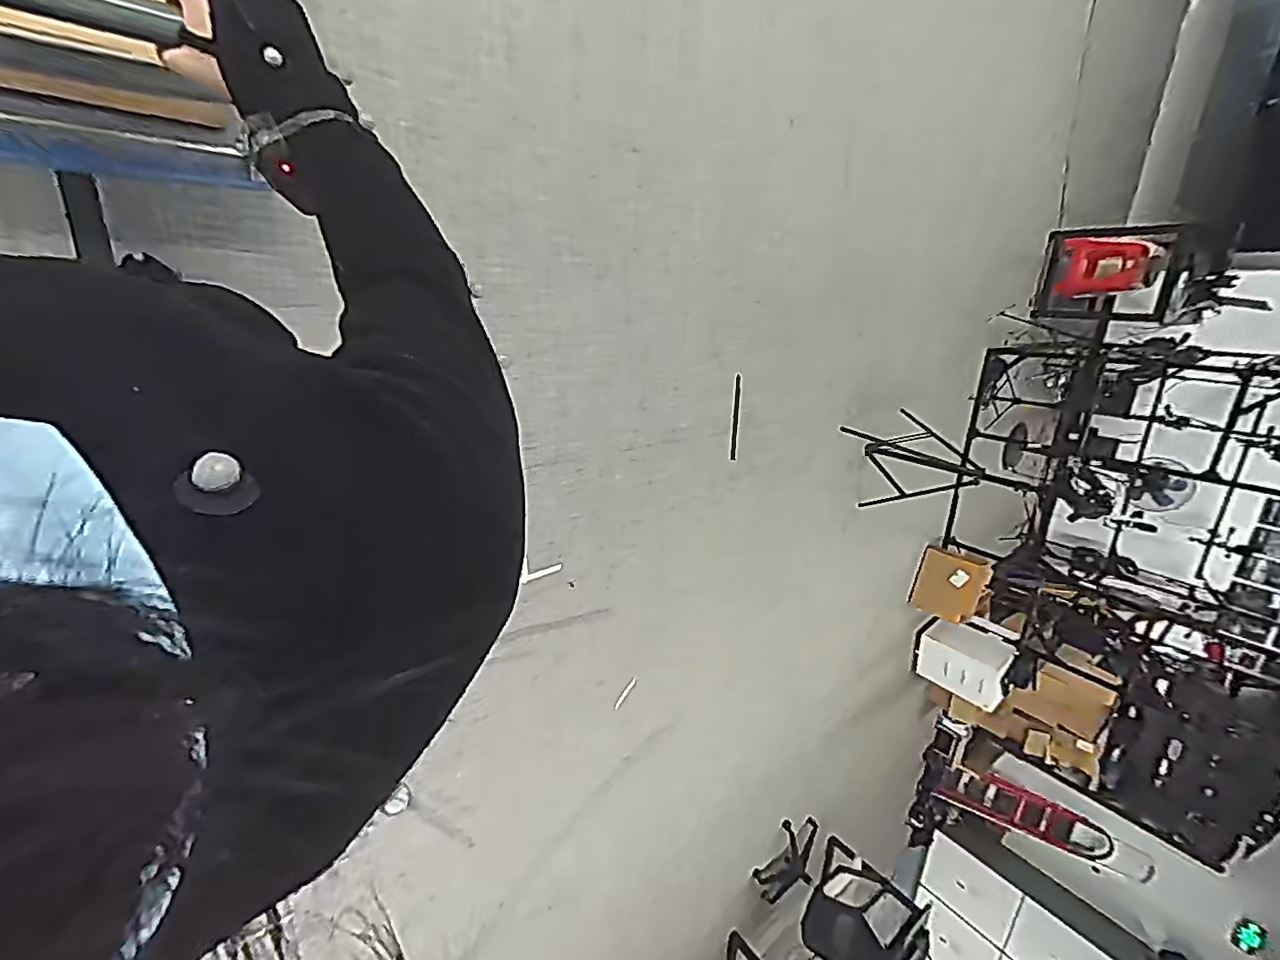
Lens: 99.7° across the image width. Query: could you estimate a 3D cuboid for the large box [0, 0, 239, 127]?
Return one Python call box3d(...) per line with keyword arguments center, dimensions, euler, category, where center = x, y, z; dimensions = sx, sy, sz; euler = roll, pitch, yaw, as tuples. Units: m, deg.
box3d(center=(-0.778, -0.678, 0.659), dimensions=(0.408, 0.320, 0.320), euler=(-12, 114, -38), category="large box")
